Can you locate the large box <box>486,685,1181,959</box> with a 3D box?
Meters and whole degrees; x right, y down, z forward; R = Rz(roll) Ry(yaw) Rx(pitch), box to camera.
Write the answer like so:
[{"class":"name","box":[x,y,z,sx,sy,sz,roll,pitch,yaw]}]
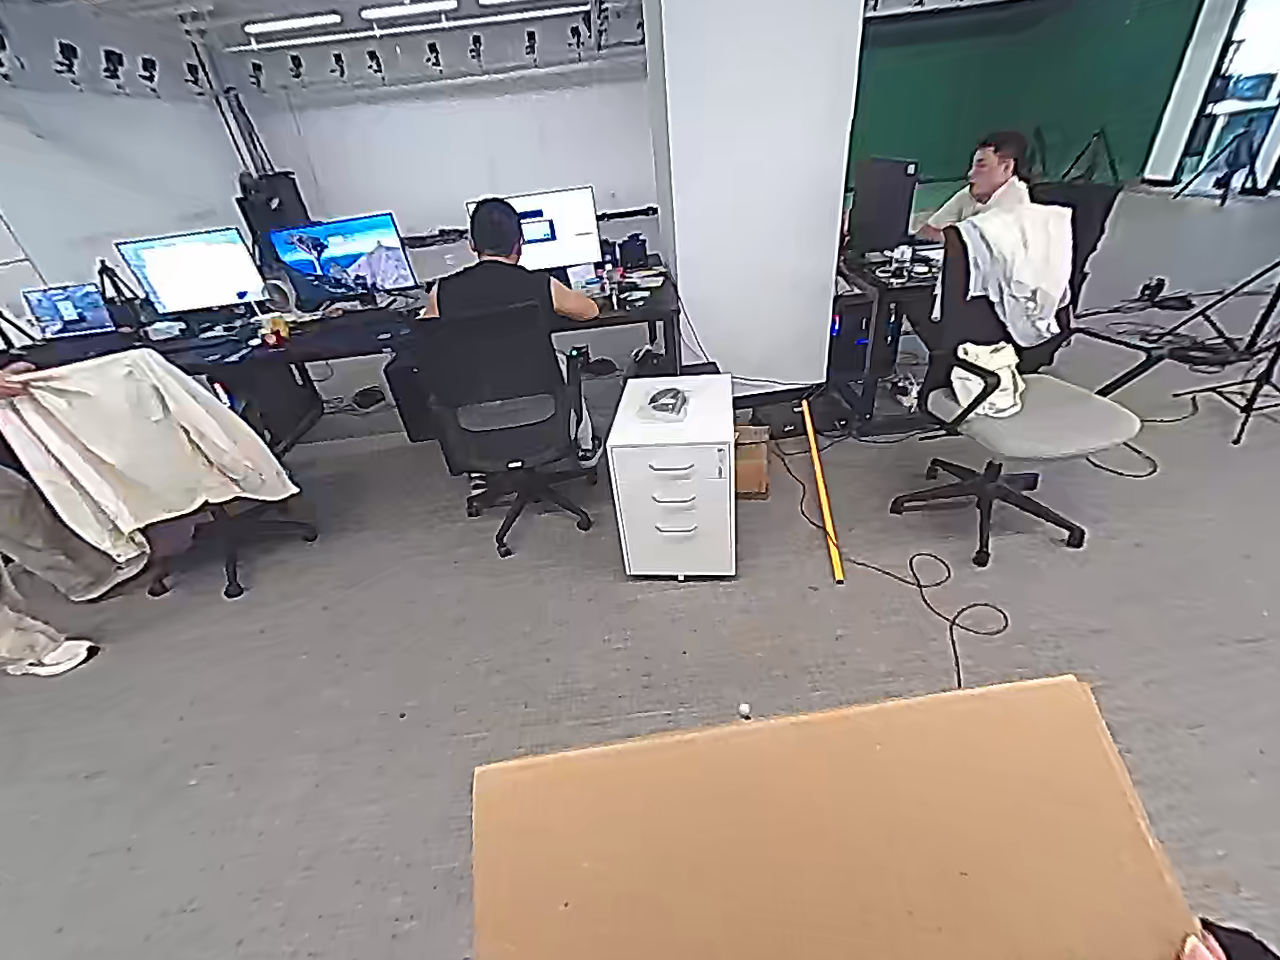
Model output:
[{"class":"large box","box":[0.126,0.371,0.442,0.408,0.320,0.320,-10,65,1]}]
